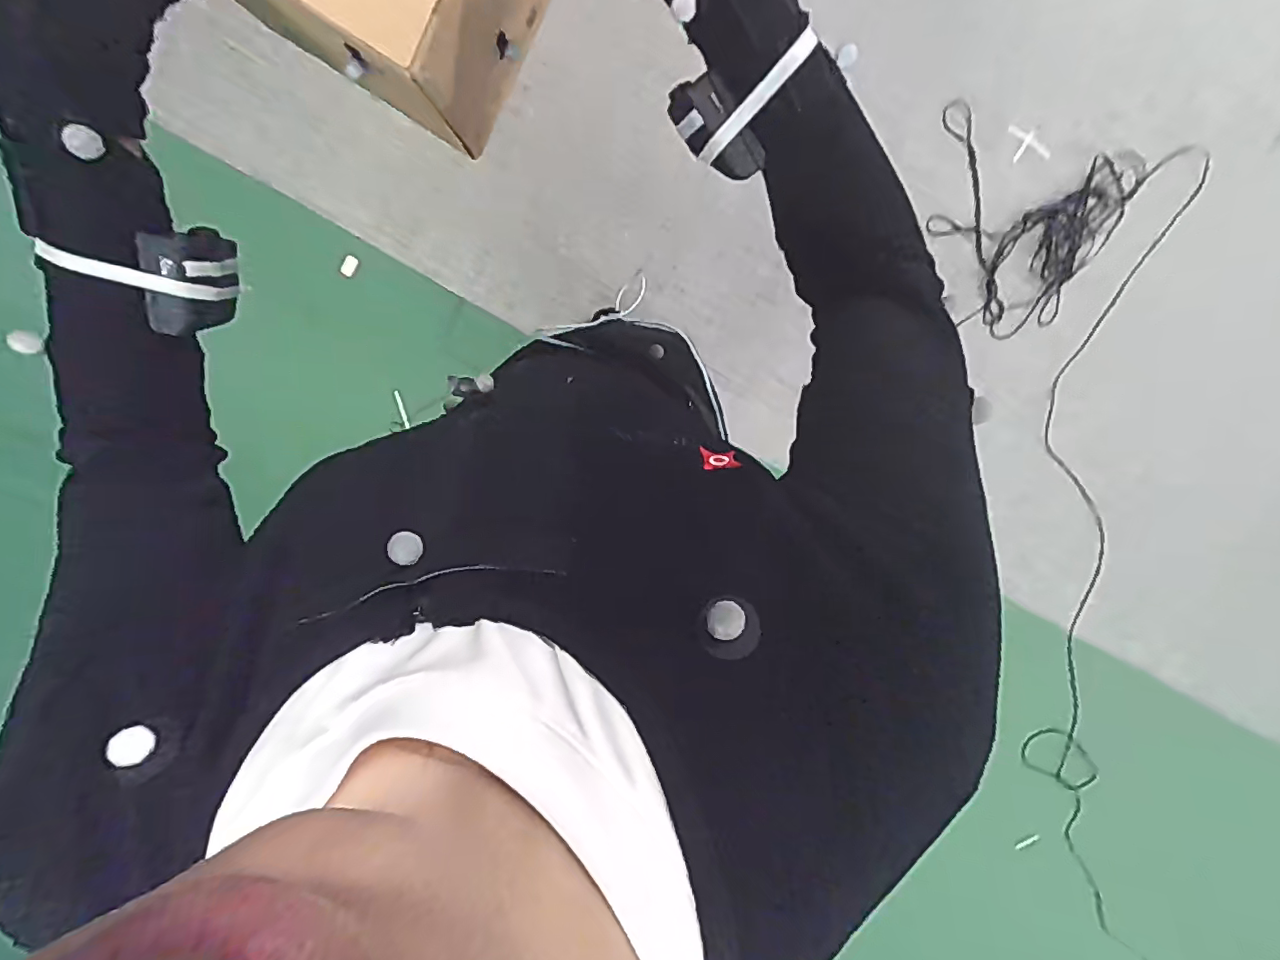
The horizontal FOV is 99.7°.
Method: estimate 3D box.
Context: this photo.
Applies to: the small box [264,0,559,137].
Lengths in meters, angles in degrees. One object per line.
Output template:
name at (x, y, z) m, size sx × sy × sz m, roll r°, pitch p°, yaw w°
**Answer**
small box at (-0.155, -0.355, 0.334) m, size 0.179 × 0.176 × 0.168 m, roll 28°, pitch 103°, yaw -13°
